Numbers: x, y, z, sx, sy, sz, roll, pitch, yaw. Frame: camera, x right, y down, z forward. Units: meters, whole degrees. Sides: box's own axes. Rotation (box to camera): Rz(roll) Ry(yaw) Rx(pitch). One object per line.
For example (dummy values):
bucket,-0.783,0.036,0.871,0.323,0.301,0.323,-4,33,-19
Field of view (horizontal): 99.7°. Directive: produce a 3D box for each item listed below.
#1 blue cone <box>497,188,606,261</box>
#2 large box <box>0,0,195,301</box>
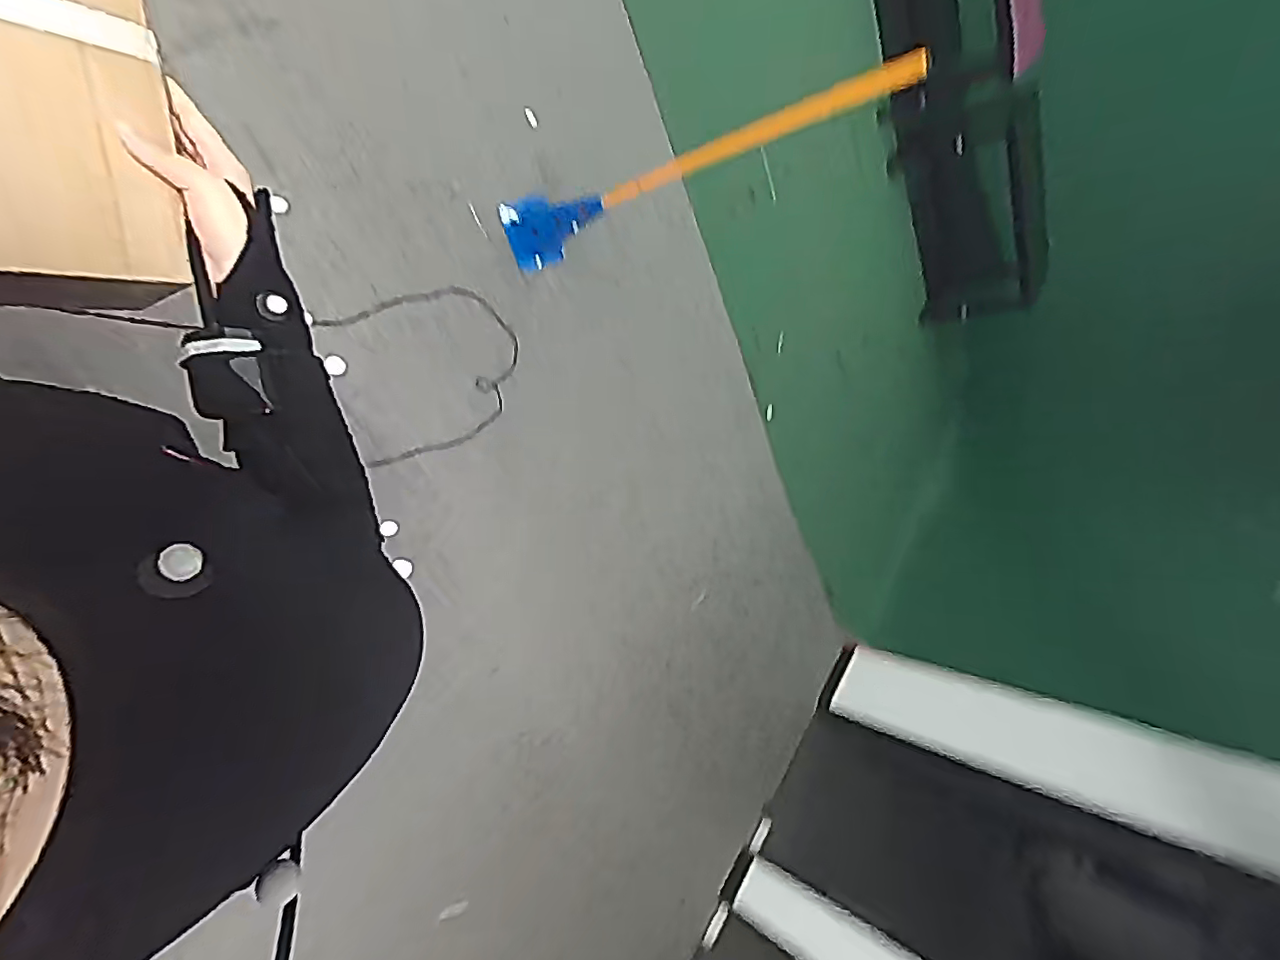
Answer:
blue cone,-0.248,-0.806,1.633,0.192,0.380,0.193,-38,119,-37
large box,-0.589,-0.295,0.337,0.408,0.320,0.320,-14,109,-47
